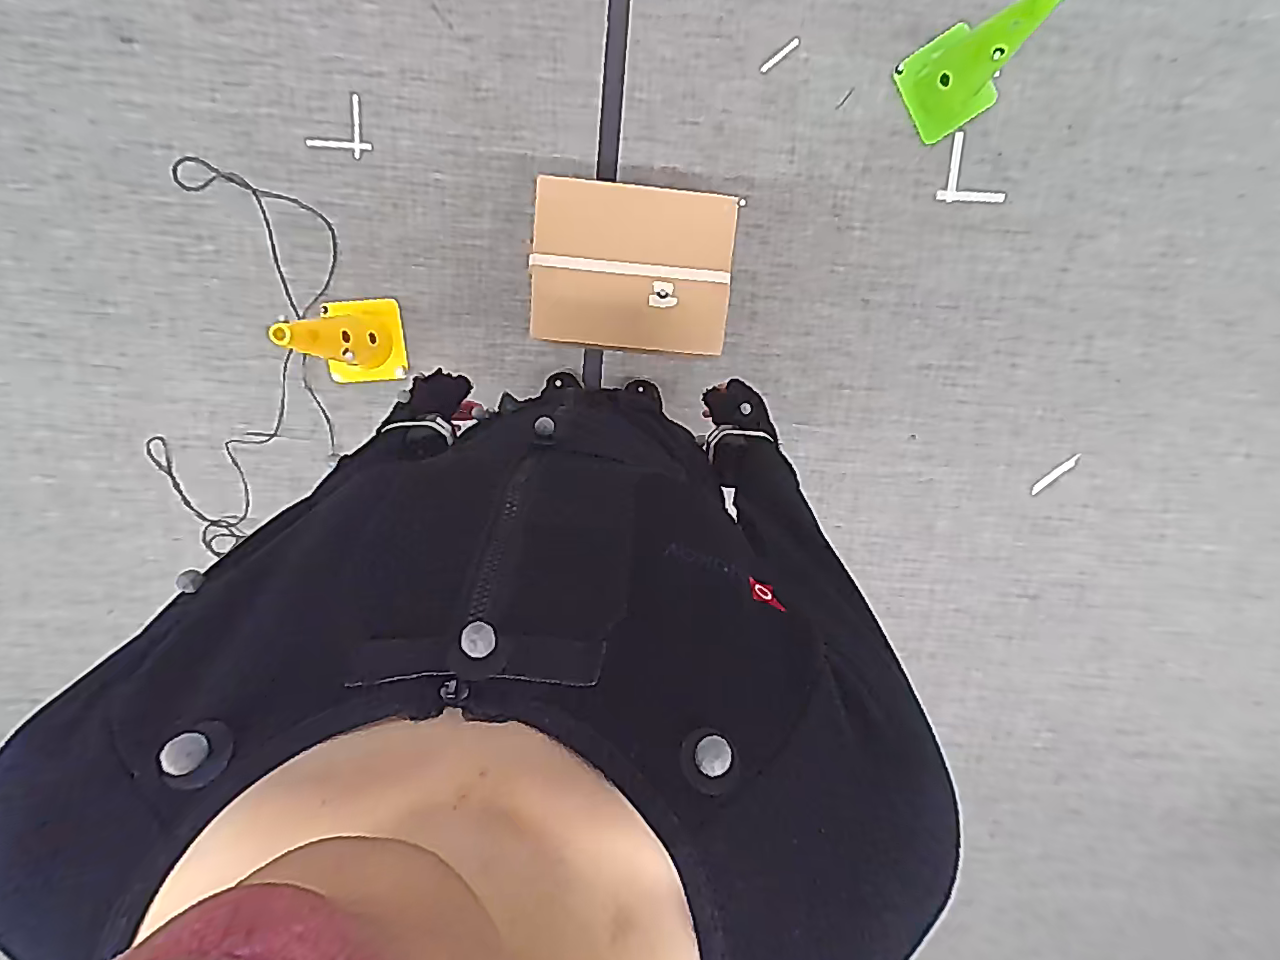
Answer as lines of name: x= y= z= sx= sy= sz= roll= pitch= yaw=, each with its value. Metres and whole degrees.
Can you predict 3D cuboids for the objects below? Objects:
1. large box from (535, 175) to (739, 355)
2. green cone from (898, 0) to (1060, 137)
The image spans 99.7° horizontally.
large box: x=-0.018 y=-0.465 z=1.242 sx=0.408 sy=0.320 sz=0.320 roll=5 pitch=102 yaw=-3
green cone: x=0.745 y=-0.920 z=1.121 sx=0.202 sy=0.368 sz=0.200 roll=-33 pitch=102 yaw=4
